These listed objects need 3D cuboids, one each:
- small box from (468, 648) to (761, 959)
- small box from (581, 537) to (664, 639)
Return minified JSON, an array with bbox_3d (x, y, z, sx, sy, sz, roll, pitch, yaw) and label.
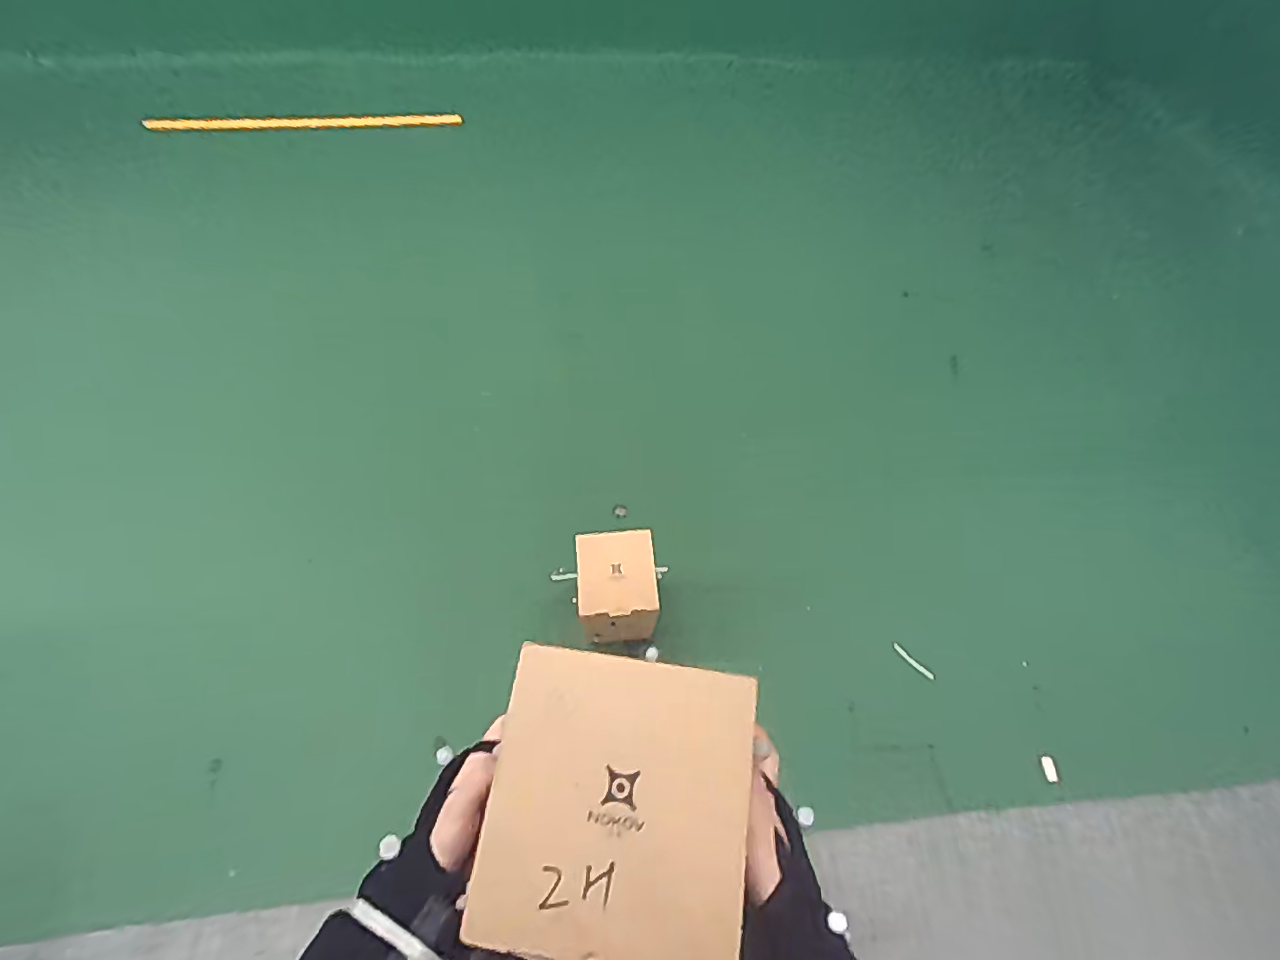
[{"bbox_3d":[-0.006,0.239,0.418,0.168,0.176,0.179,6,68,8],"label":"small box"},{"bbox_3d":[-0.043,0.244,1.206,0.168,0.176,0.179,-5,64,-5],"label":"small box"}]
